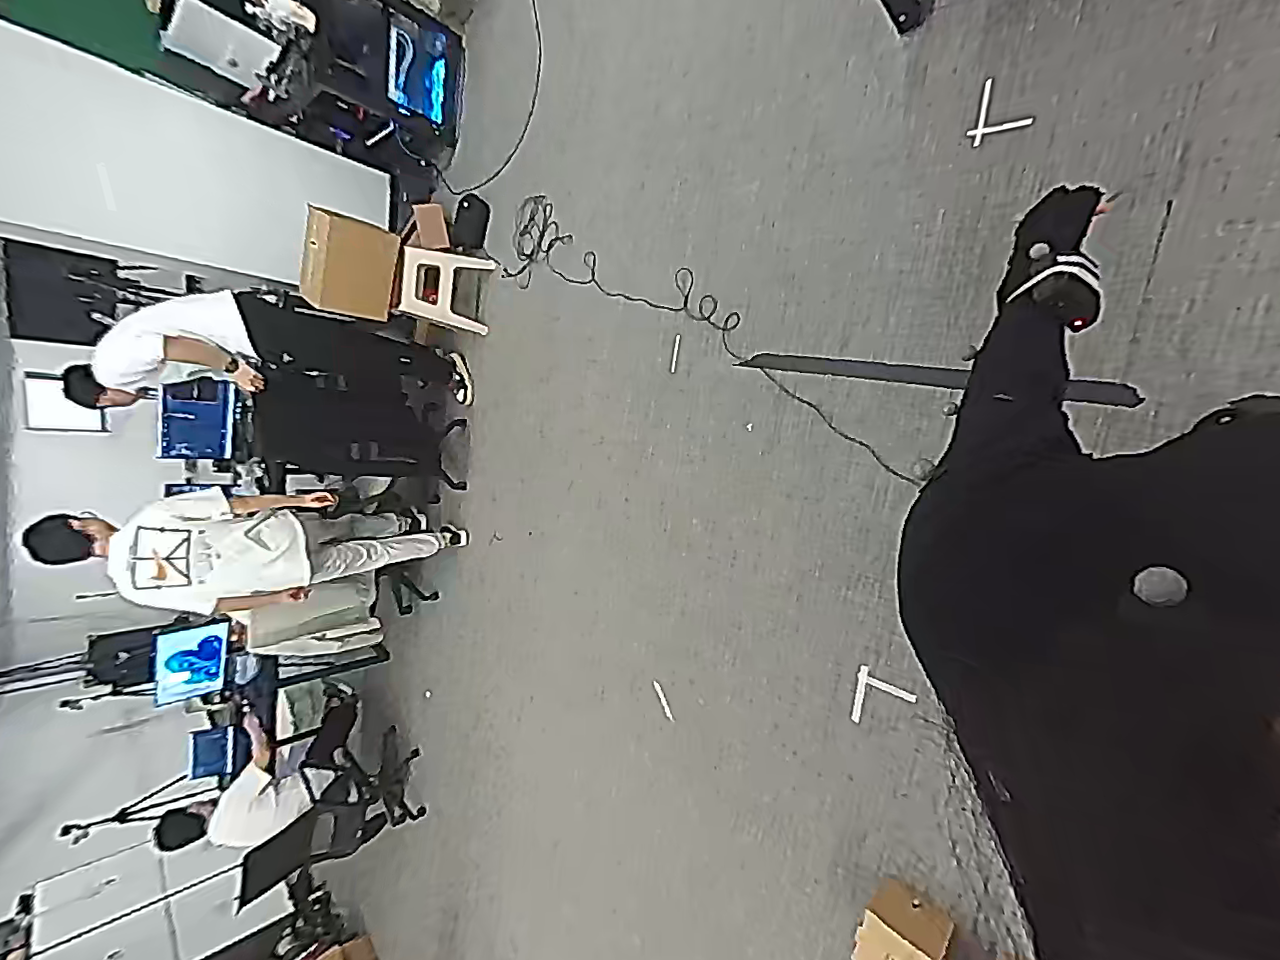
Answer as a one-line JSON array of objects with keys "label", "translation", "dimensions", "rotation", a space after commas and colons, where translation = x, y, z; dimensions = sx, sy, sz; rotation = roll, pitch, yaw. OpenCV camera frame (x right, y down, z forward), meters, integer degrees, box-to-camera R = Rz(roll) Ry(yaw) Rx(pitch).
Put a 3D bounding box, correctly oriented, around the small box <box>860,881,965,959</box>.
[{"label": "small box", "translation": [0.711, 1.200, 1.409], "dimensions": [0.179, 0.176, 0.168], "rotation": [20, 105, 43]}]
